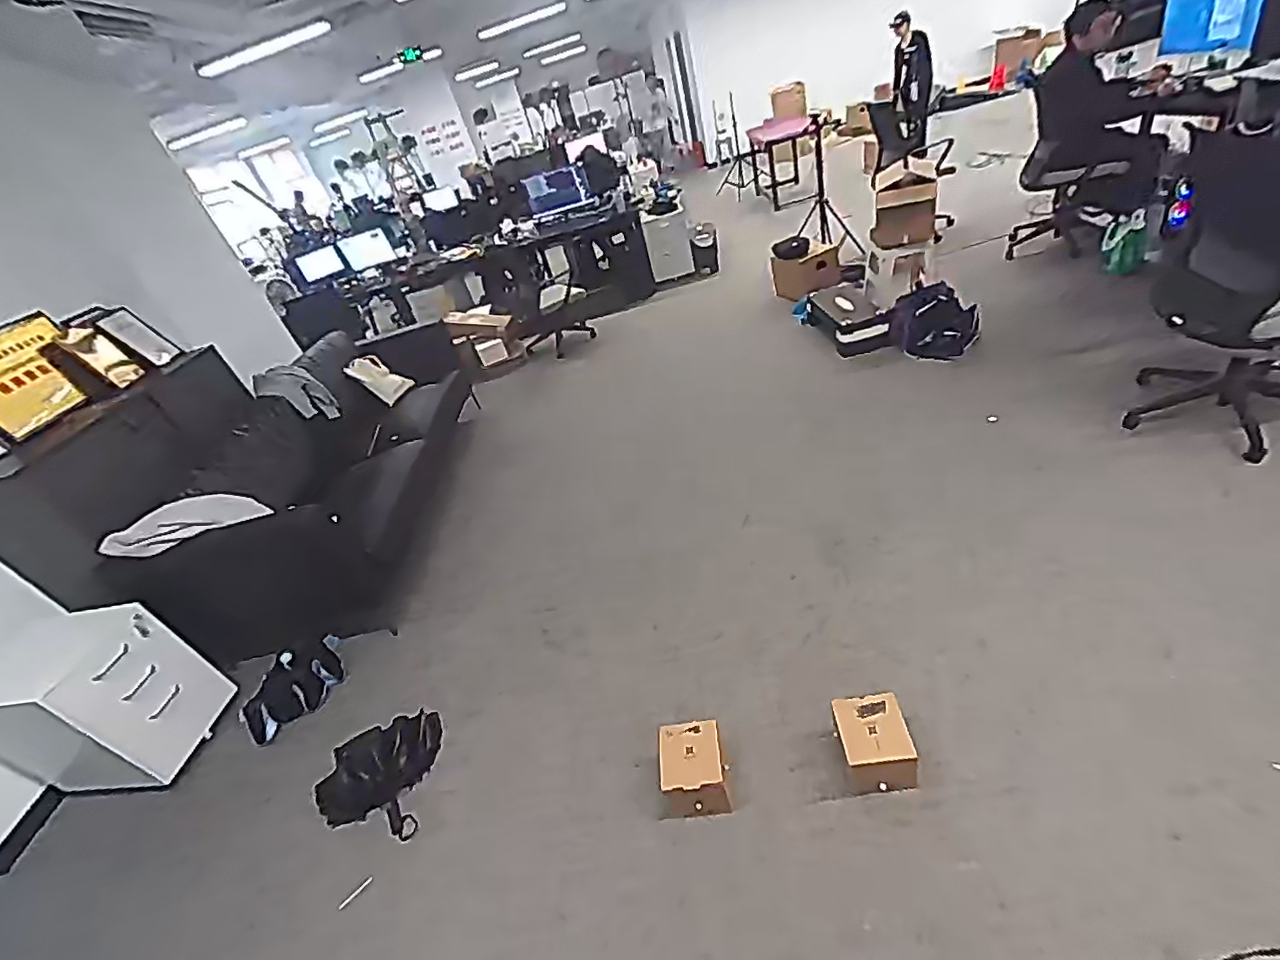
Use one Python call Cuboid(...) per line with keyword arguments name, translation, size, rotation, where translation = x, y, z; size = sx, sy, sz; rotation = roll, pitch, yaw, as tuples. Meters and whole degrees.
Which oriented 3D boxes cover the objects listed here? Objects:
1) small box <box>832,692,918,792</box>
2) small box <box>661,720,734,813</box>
Cuboid(name="small box", translation=(0.618, 0.694, 1.434), size=(0.168, 0.176, 0.179), rotation=(-13, 36, 10))
Cuboid(name="small box", translation=(0.159, 0.803, 1.505), size=(0.168, 0.176, 0.179), rotation=(-12, 35, 9))
